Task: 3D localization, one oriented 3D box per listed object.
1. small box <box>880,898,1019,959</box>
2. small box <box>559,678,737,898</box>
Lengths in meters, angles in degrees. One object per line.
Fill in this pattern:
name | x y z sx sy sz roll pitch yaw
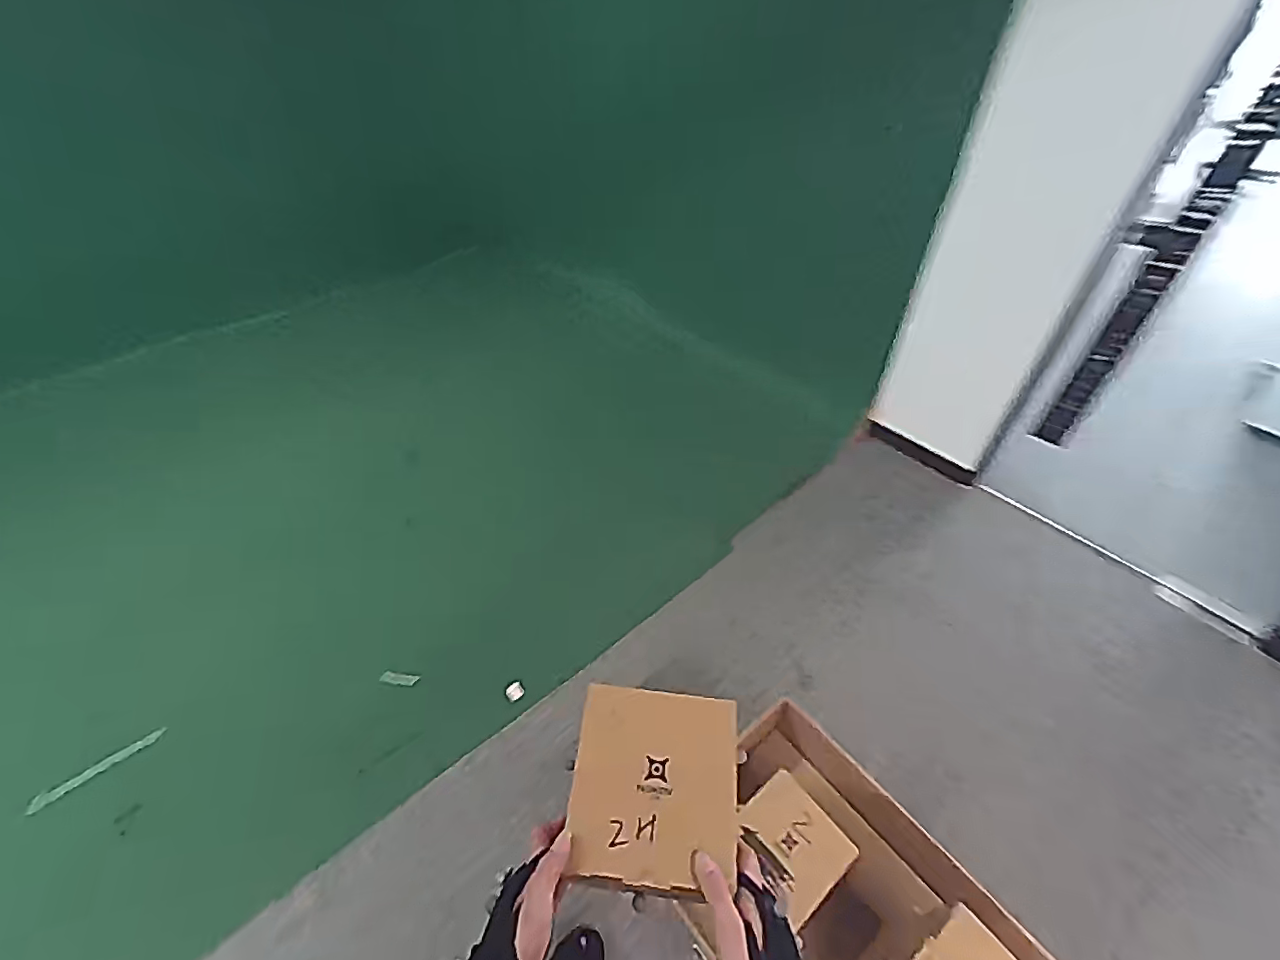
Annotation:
small box | 0.404 0.681 0.680 0.168 0.176 0.179 -30 54 -23
small box | 0.011 0.344 0.601 0.168 0.176 0.179 6 52 2
